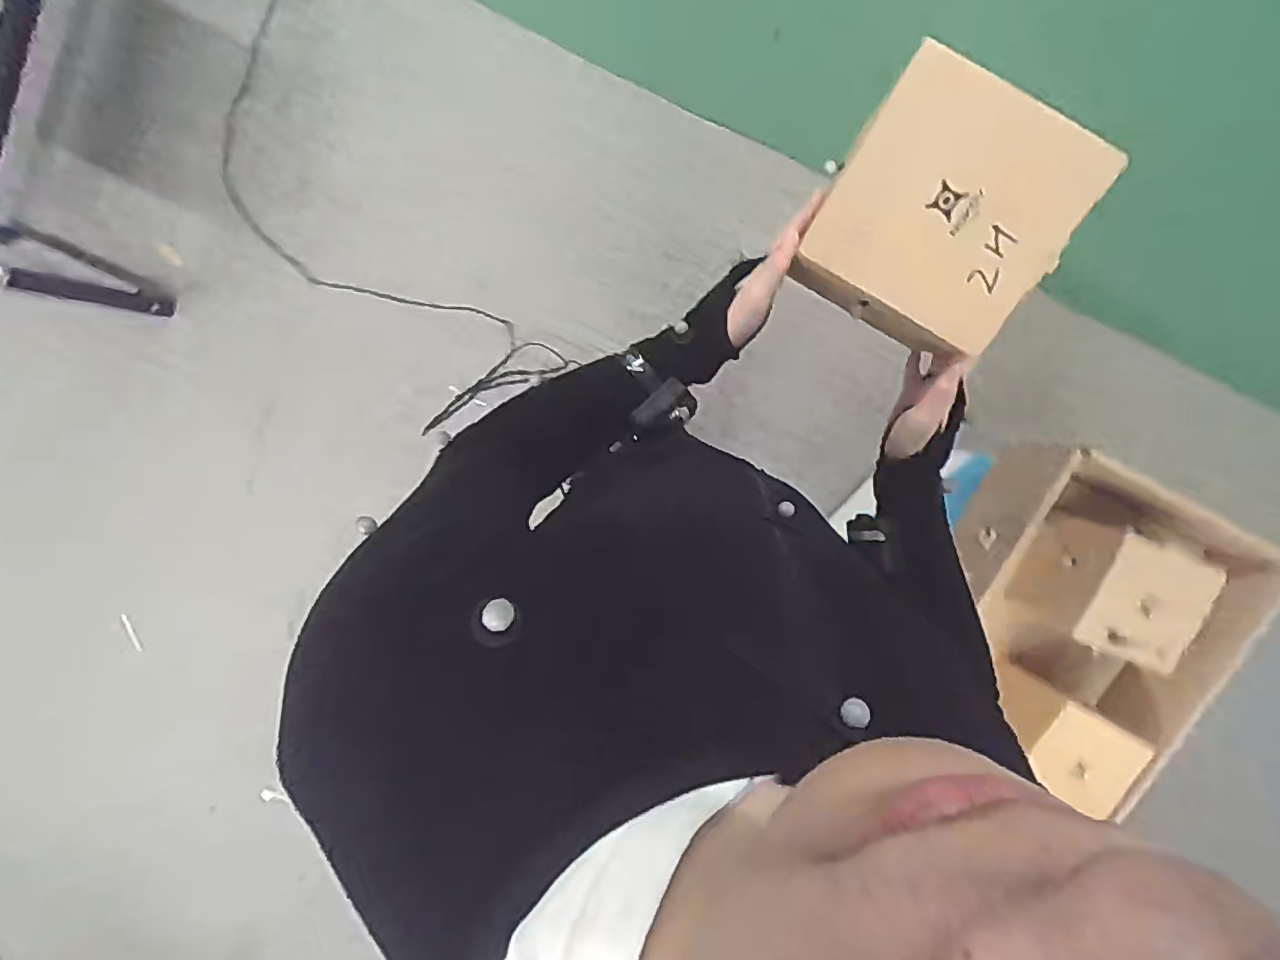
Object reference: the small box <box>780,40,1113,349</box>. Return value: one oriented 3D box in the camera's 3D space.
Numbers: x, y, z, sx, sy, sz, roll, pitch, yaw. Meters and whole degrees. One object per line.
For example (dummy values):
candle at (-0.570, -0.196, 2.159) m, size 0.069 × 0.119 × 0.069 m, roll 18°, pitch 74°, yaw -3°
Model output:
small box at (0.246, -0.234, 0.495) m, size 0.179 × 0.176 × 0.168 m, roll 30°, pitch 108°, yaw -1°
